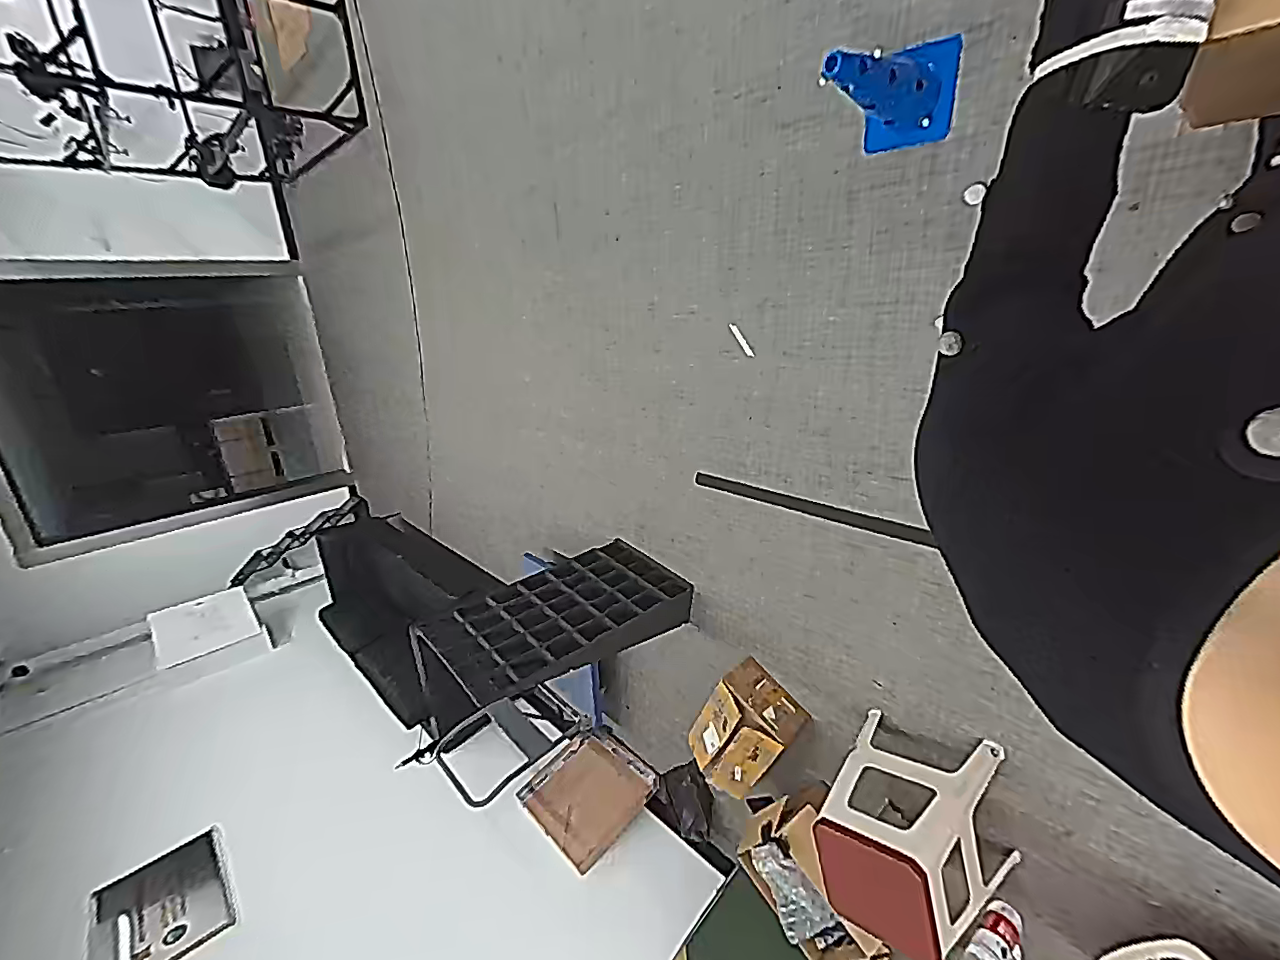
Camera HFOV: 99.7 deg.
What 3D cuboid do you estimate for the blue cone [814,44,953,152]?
[{"bbox_3d":[0.497,-0.843,1.157,0.192,0.380,0.193,21,120,44],"label":"blue cone"}]

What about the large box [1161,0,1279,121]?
[{"bbox_3d":[0.566,-0.431,0.264,0.408,0.320,0.320,15,116,44],"label":"large box"}]
